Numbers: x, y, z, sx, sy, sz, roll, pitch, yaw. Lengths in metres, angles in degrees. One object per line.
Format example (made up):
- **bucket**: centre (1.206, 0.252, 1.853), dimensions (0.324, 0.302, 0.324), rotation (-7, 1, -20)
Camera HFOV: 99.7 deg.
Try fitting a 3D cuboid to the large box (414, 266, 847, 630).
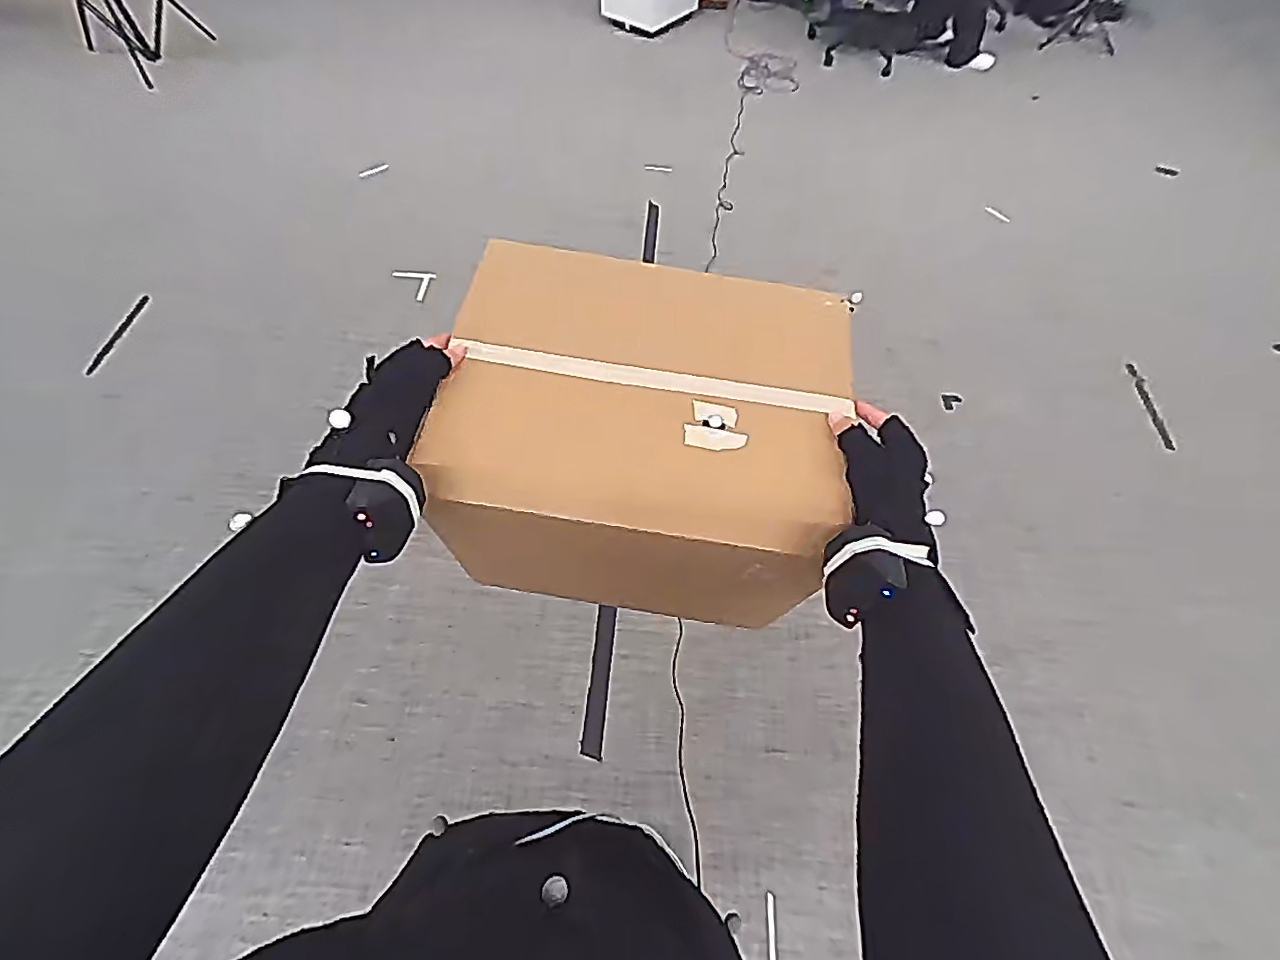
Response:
- **large box**: centre (-0.003, -0.018, 0.684), dimensions (0.408, 0.320, 0.320), rotation (9, 64, -1)
